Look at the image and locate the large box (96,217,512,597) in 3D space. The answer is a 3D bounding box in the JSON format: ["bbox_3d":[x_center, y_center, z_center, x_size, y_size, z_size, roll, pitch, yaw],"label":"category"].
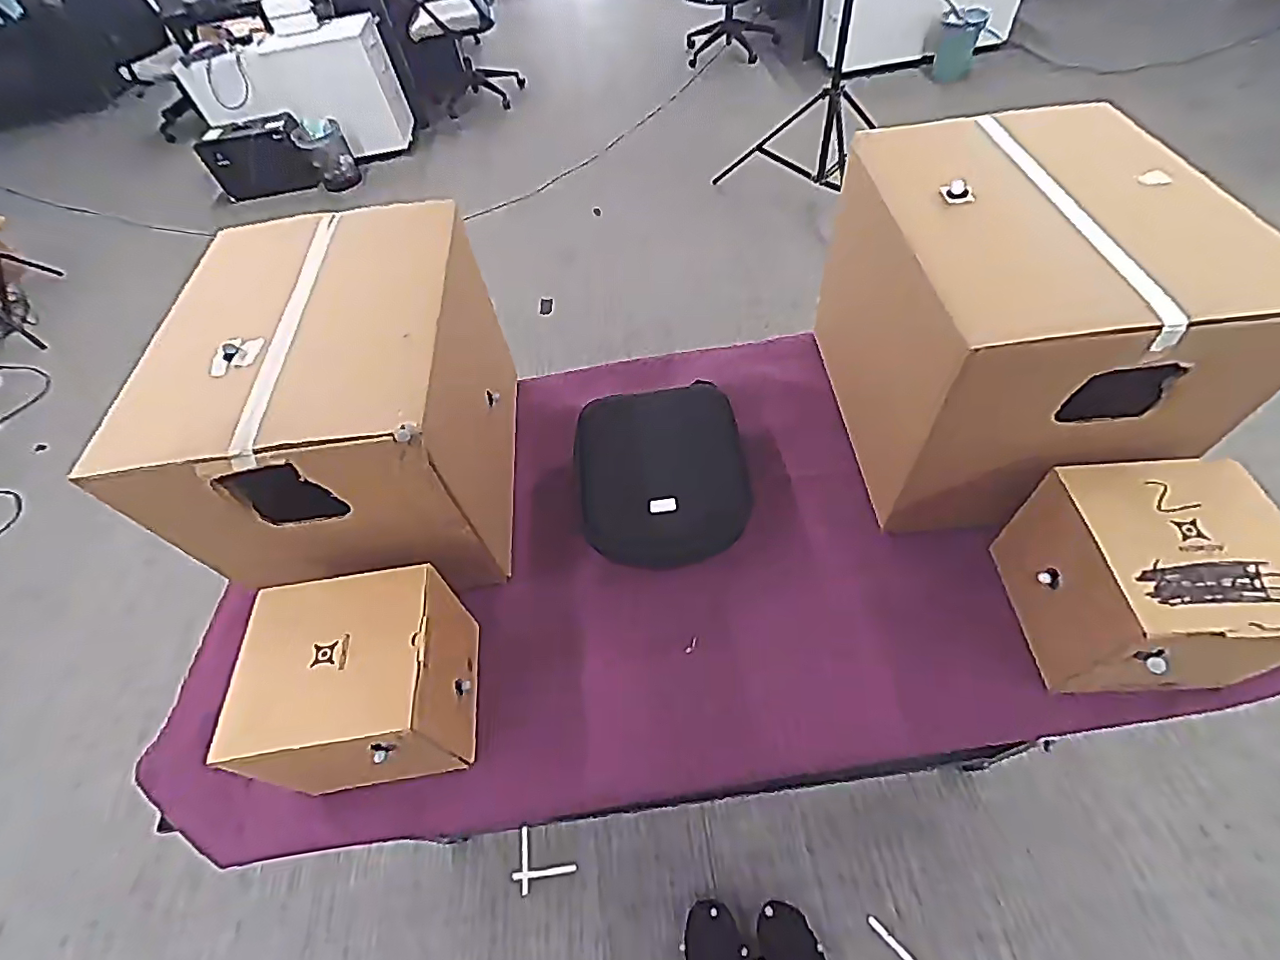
[{"bbox_3d":[-0.359,-0.081,0.721,0.320,0.320,0.408,-9,56,0],"label":"large box"}]

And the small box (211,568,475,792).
[{"bbox_3d":[-0.291,0.218,0.579,0.179,0.176,0.168,-9,52,-3],"label":"small box"}]
